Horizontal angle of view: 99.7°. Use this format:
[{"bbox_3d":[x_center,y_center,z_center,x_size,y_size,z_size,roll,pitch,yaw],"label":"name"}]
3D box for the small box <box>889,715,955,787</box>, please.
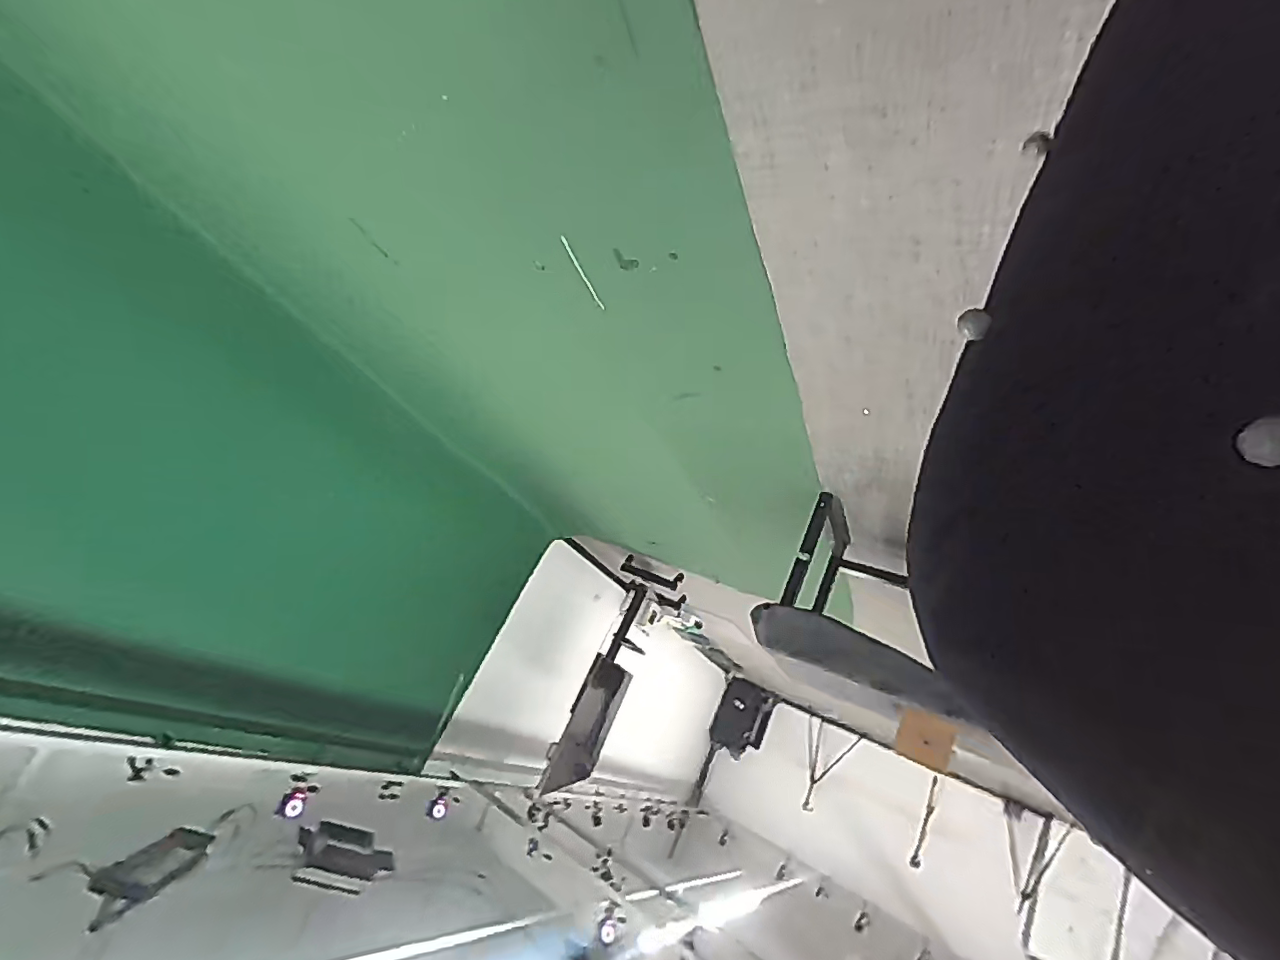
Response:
[{"bbox_3d":[1.009,0.965,1.930,0.179,0.176,0.168,14,158,35],"label":"small box"}]
